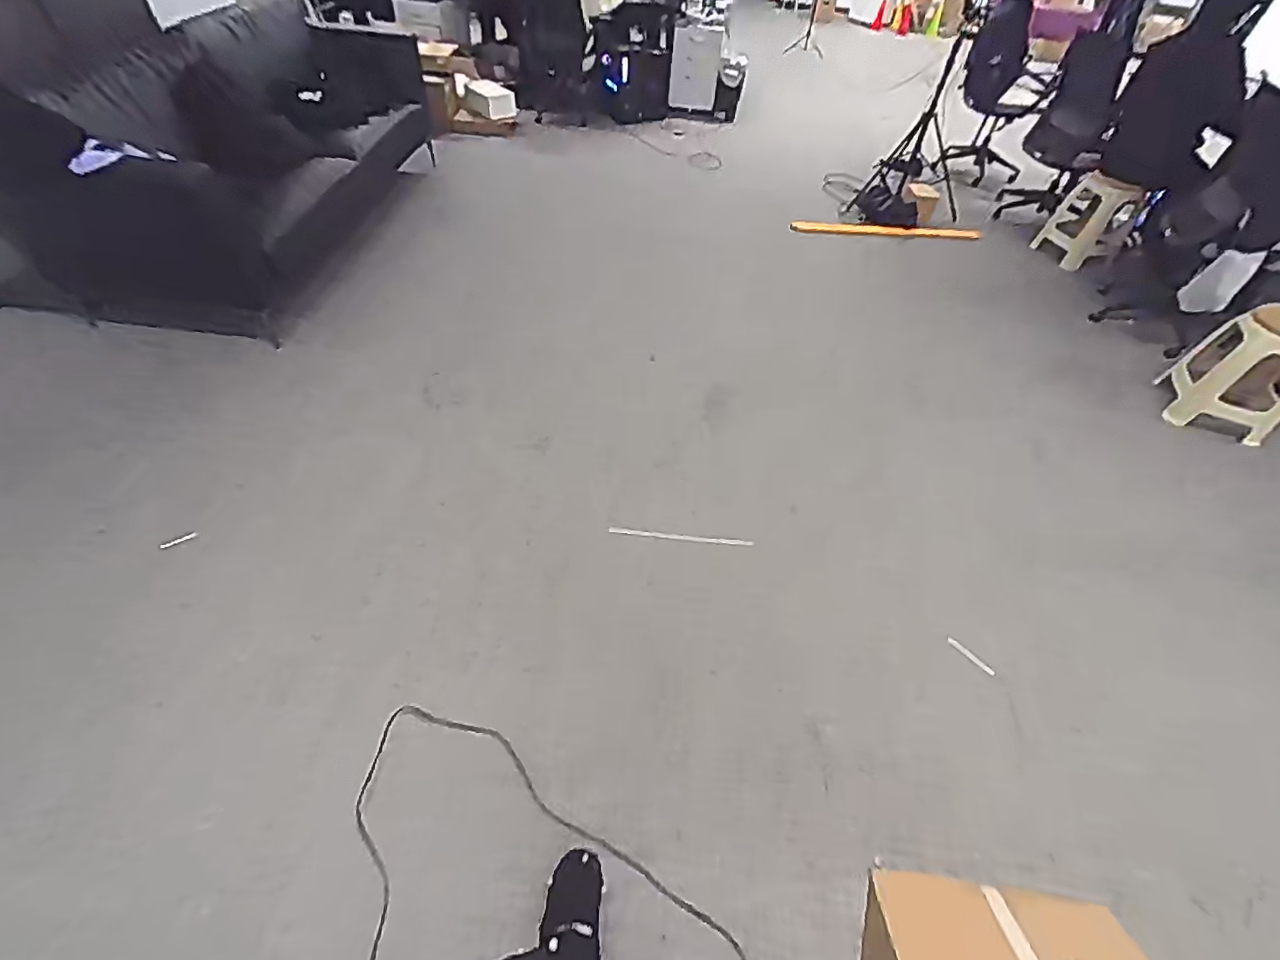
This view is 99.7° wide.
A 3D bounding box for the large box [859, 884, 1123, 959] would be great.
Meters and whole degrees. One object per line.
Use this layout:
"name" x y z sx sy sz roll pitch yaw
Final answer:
"large box" 0.441 0.765 0.586 0.320 0.320 0.408 5 5 9
